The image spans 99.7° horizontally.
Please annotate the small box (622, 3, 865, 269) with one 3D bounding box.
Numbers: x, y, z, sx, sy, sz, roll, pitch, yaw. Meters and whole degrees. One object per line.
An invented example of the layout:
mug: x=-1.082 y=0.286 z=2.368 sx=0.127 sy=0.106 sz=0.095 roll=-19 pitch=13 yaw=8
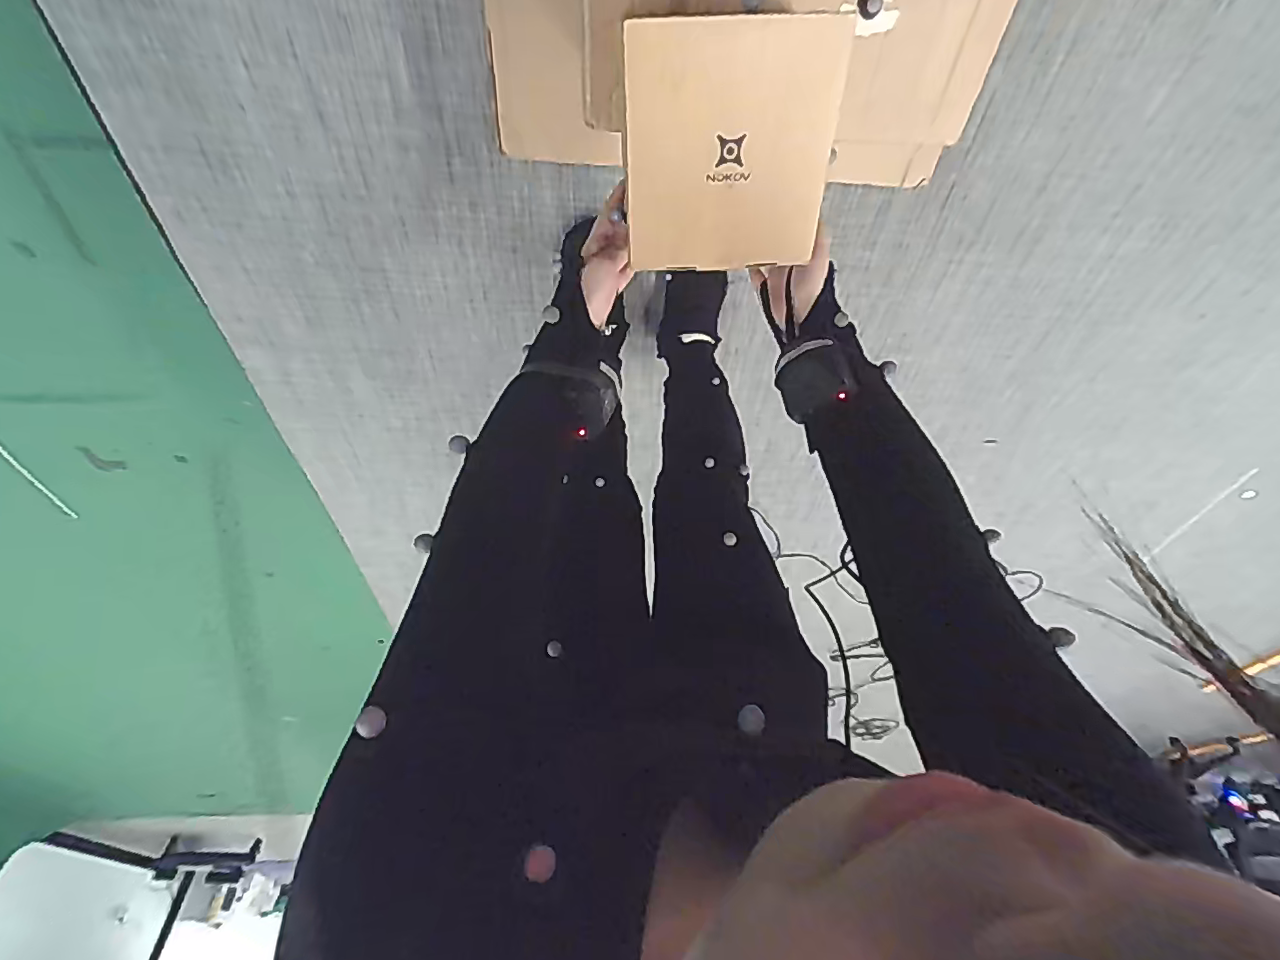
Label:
small box: x=0.070 y=-0.309 z=0.486 sx=0.168 sy=0.176 sz=0.179 roll=-2 pitch=134 yaw=-3
